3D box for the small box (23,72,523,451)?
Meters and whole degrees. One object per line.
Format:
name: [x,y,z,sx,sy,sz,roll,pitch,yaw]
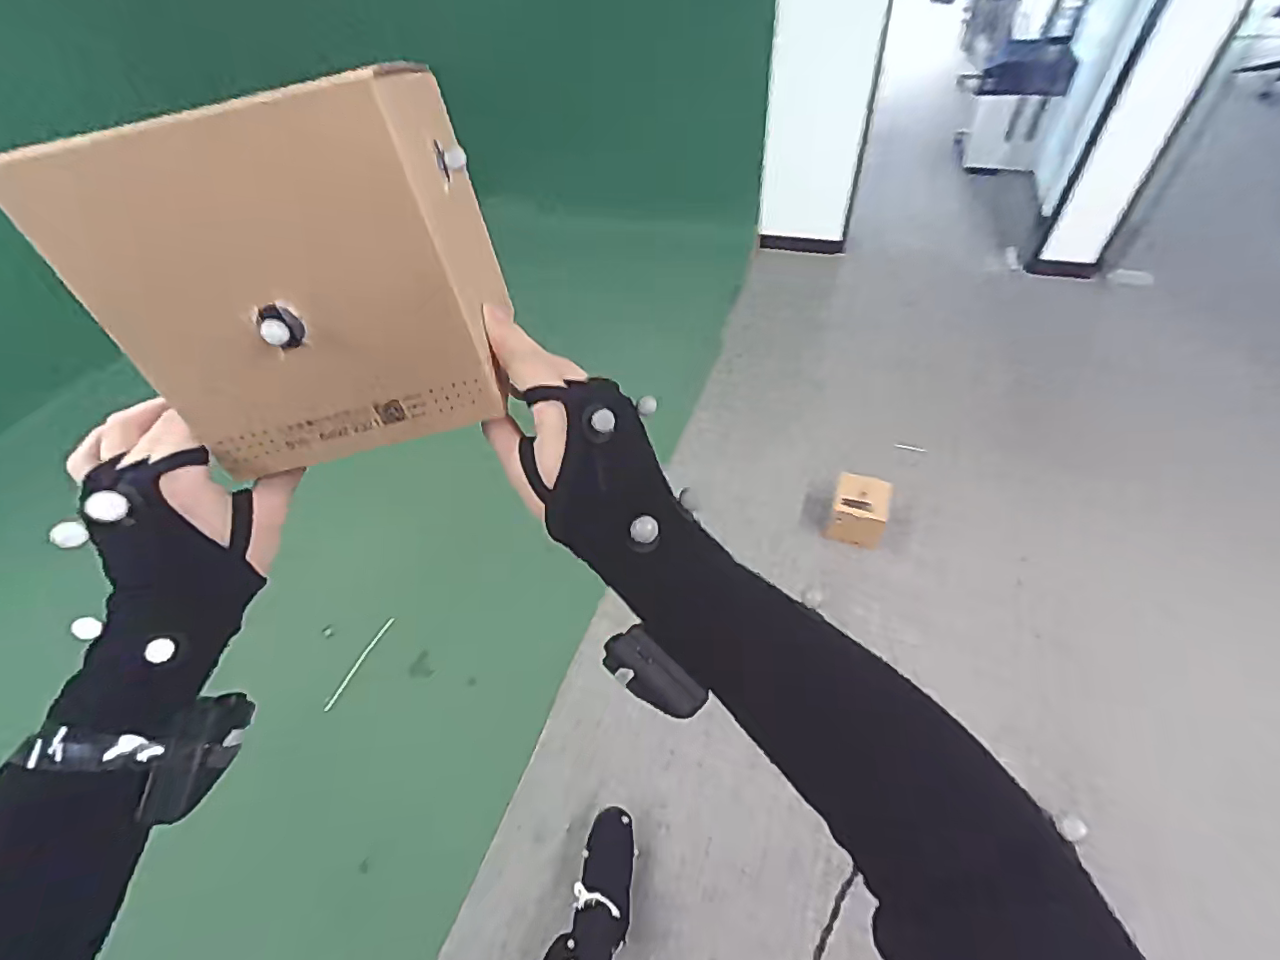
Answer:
small box: [-0.178,-0.133,0.340,0.168,0.176,0.179,-13,38,-1]
